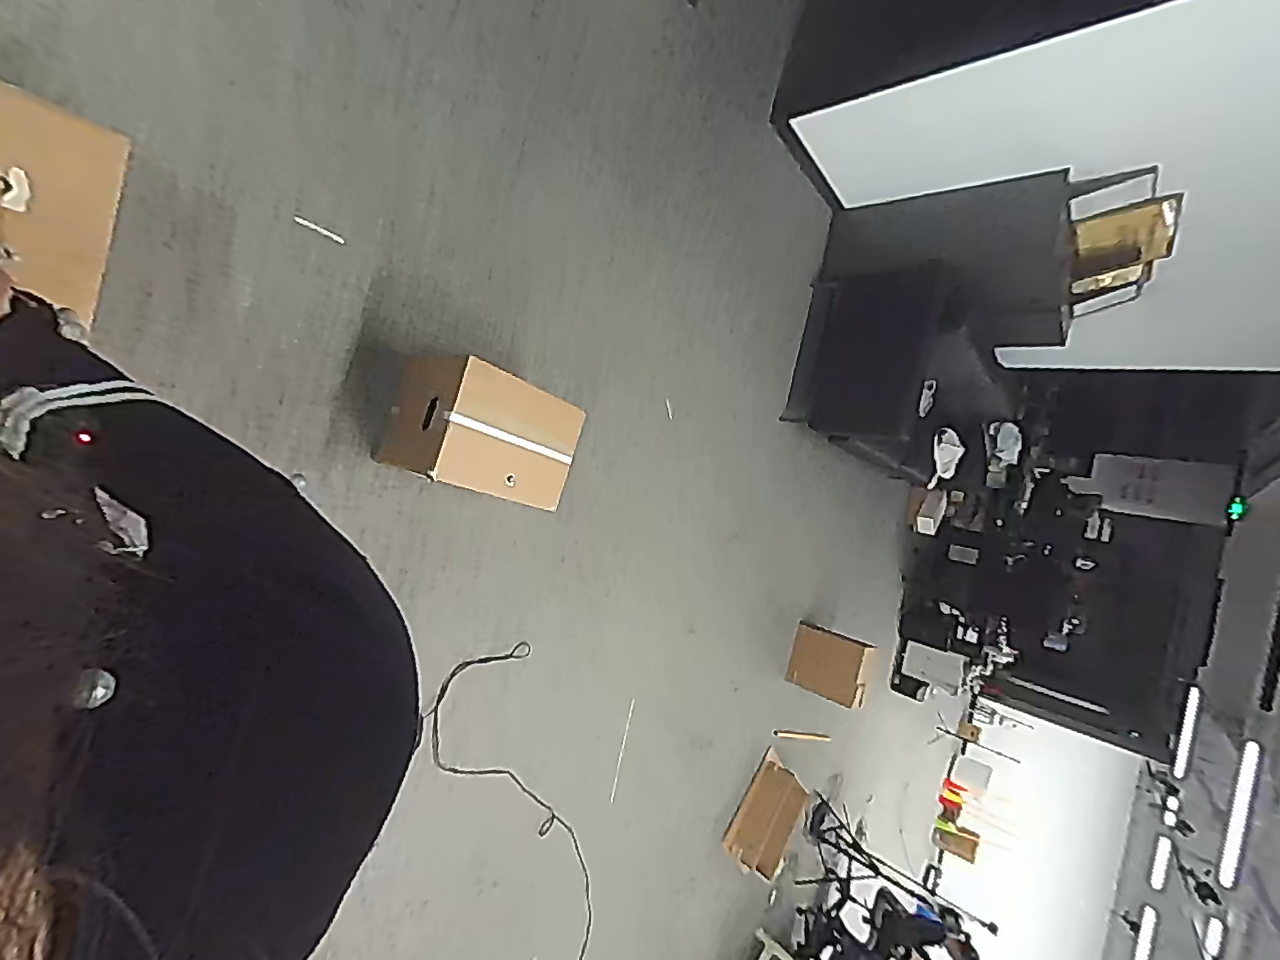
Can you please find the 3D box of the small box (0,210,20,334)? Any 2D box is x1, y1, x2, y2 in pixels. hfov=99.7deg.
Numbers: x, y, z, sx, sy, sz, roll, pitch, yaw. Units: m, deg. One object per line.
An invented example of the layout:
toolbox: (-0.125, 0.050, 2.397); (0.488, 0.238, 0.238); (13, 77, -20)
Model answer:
small box: (-0.872, -0.262, 0.634); (0.179, 0.176, 0.168); (11, 89, -47)

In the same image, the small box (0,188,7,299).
small box: (-0.750, -0.244, 0.525); (0.168, 0.176, 0.179); (5, 94, -49)

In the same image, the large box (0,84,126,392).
large box: (-1.026, -0.363, 0.809); (0.320, 0.320, 0.408); (12, 88, -49)
